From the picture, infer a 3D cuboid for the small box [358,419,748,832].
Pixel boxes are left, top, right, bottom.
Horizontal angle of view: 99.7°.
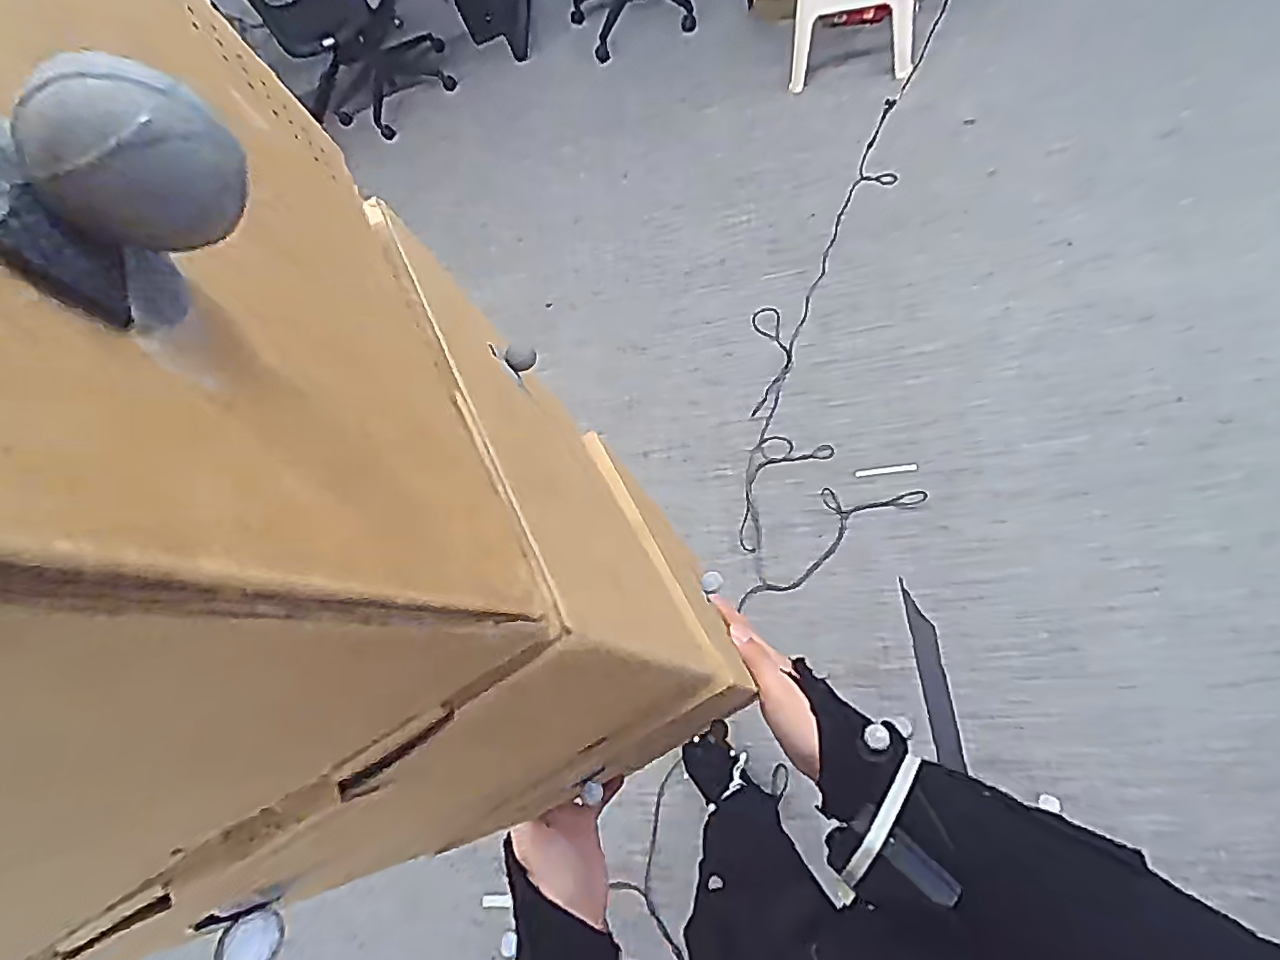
[{"bbox_3d":[-0.045,0.098,0.364,0.179,0.176,0.168,-31,63,3],"label":"small box"}]
